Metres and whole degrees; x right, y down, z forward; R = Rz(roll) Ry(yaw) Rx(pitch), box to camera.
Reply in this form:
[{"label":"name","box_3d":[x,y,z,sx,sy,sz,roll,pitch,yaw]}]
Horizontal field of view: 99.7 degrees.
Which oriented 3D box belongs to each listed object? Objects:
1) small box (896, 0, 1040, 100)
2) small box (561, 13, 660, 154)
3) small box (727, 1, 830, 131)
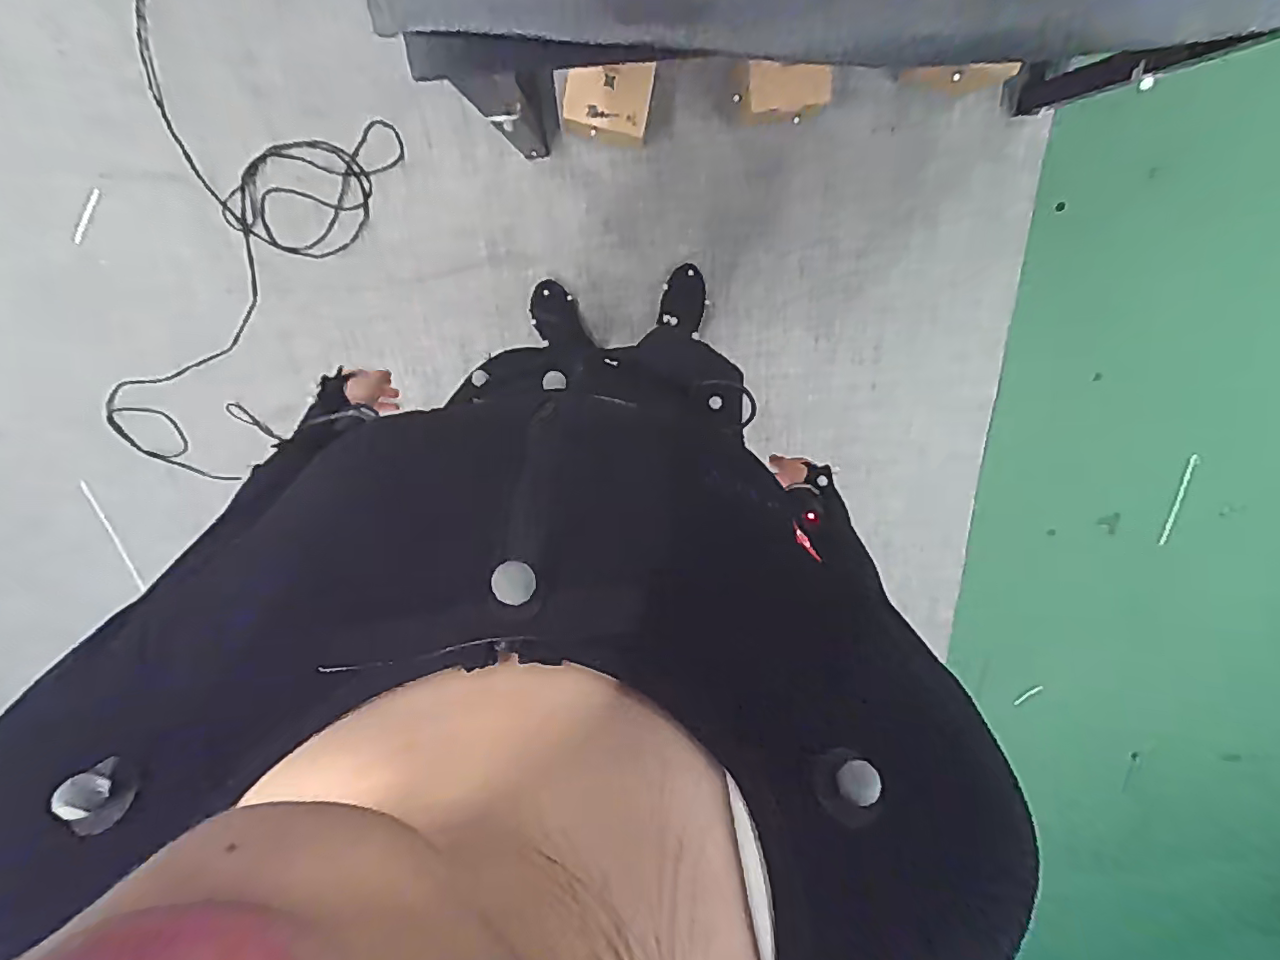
[{"label":"small box","box_3d":[0.661,-0.903,1.106,0.179,0.176,0.168,6,114,-8]},{"label":"small box","box_3d":[-0.064,-0.797,1.109,0.168,0.176,0.179,11,112,-8]},{"label":"small box","box_3d":[0.278,-0.836,1.112,0.168,0.176,0.179,-8,113,-1]}]
